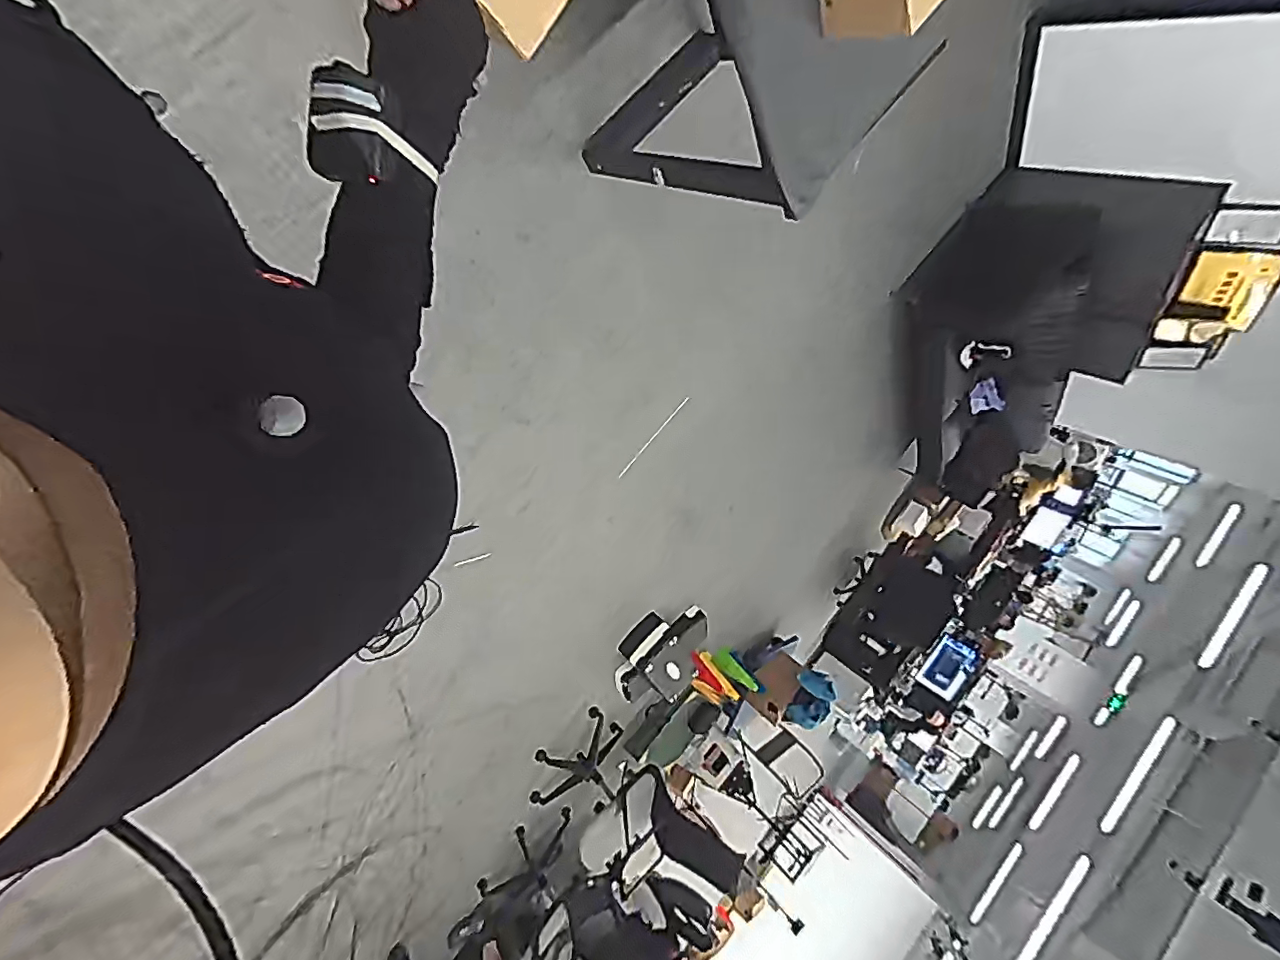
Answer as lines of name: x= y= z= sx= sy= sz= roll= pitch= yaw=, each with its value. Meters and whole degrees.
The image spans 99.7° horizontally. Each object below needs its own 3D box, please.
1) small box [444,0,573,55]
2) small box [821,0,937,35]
small box: x=-0.123 y=-0.486 z=0.404 sx=0.179 sy=0.176 sz=0.168 roll=-49 pitch=152 yaw=13
small box: x=0.416 y=-0.889 z=0.907 sx=0.179 sy=0.176 sz=0.168 roll=-51 pitch=143 yaw=-9
